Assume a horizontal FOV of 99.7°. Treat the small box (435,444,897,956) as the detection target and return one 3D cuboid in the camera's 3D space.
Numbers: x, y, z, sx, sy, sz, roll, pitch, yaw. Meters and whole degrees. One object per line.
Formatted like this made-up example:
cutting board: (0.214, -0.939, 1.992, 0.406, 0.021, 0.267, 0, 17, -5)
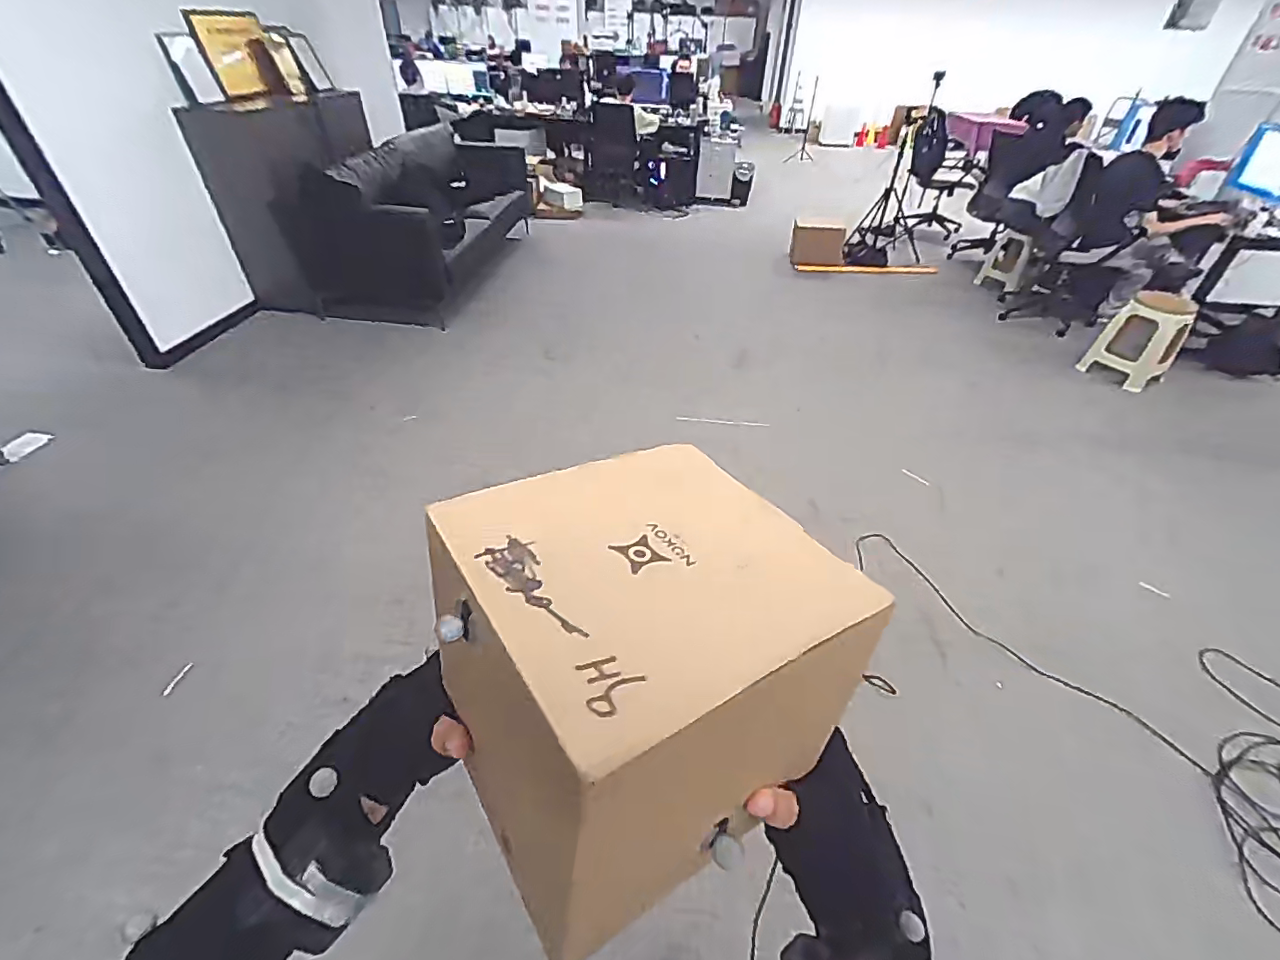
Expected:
small box: (-0.002, 0.102, 0.306, 0.179, 0.176, 0.168, -14, 38, -33)
